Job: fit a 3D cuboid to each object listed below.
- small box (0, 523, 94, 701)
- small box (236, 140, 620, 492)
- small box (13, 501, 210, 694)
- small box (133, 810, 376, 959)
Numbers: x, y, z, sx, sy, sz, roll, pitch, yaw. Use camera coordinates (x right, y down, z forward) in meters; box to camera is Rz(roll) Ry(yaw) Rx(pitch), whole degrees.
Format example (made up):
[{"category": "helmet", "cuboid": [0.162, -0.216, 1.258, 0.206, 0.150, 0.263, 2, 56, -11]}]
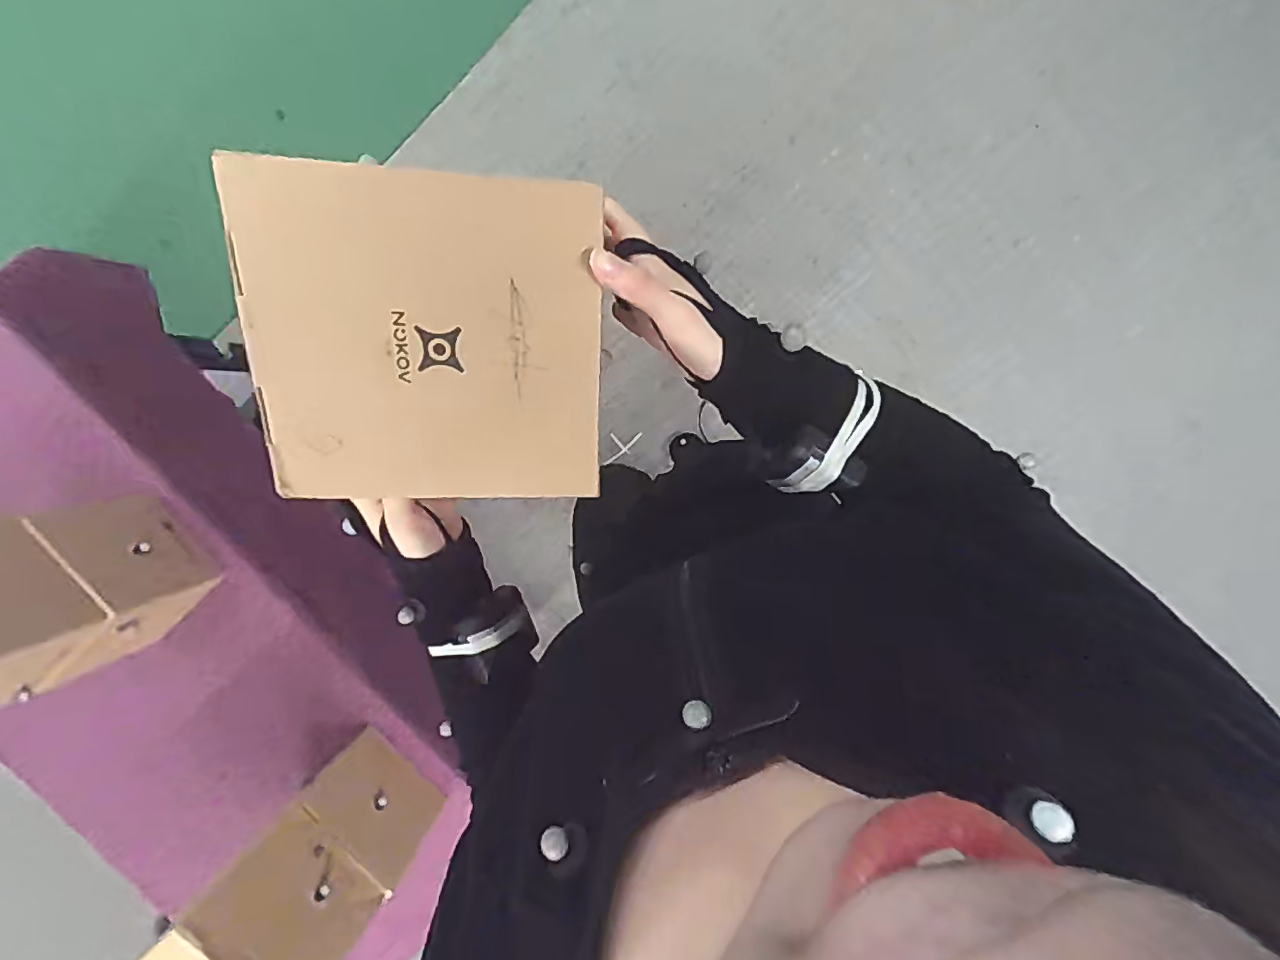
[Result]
[{"category": "small box", "cuboid": [-0.782, 0.169, 0.594, 0.168, 0.176, 0.179, -39, 93, 8]}, {"category": "small box", "cuboid": [-0.112, -0.099, 0.353, 0.179, 0.176, 0.168, 1, 110, -9]}, {"category": "small box", "cuboid": [-0.761, 0.150, 0.756, 0.179, 0.176, 0.168, -40, 93, 9]}, {"category": "small box", "cuboid": [-0.449, 0.537, 0.620, 0.179, 0.176, 0.168, -43, 93, 8]}]
